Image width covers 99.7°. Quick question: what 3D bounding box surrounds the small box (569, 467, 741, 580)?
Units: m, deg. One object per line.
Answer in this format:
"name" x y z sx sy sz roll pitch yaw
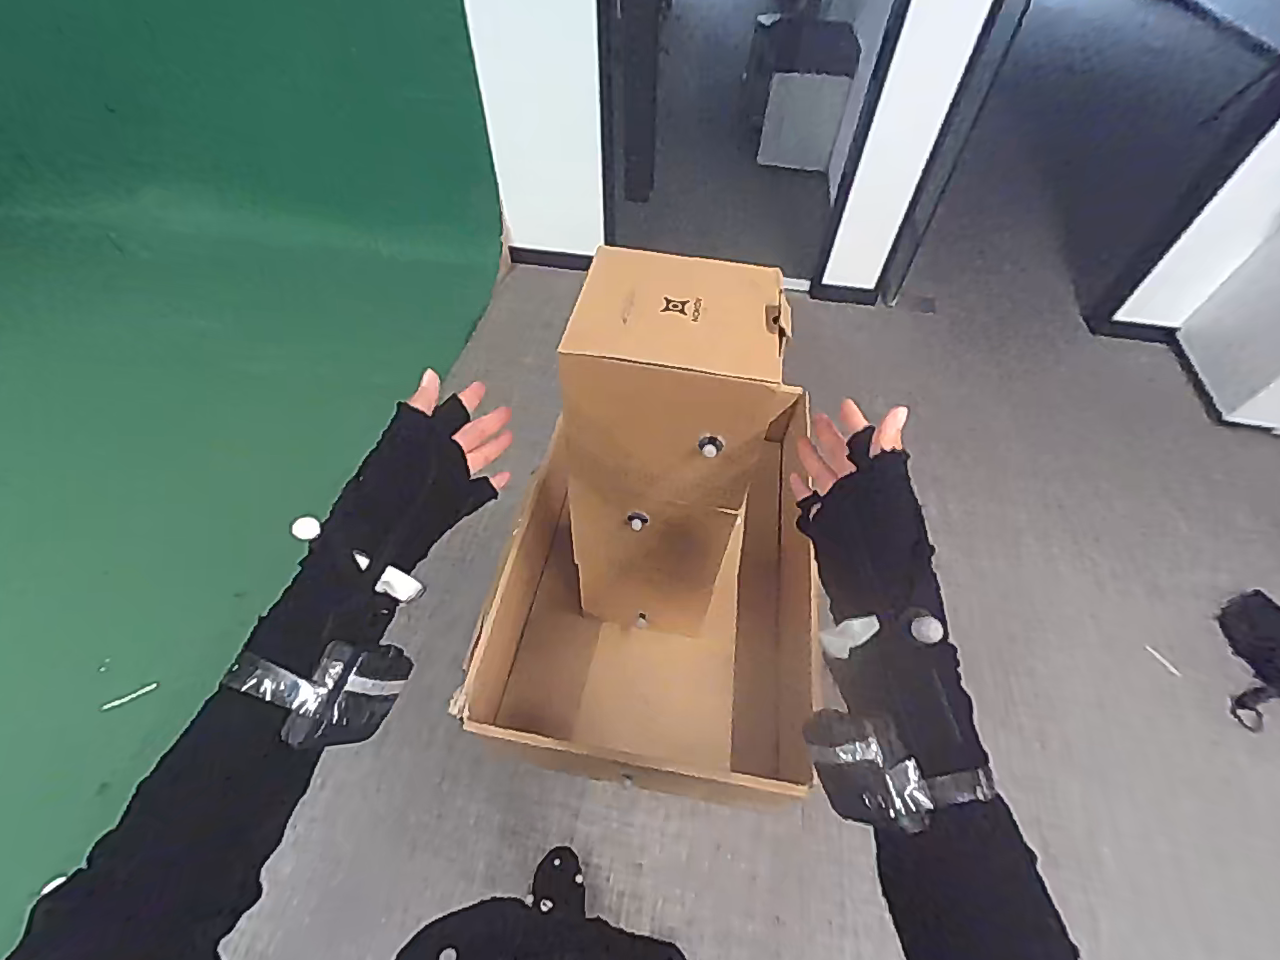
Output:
"small box" 0.025 0.001 0.648 0.179 0.176 0.168 11 52 5

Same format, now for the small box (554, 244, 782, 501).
"small box" 0.030 -0.098 0.520 0.179 0.176 0.168 8 50 5

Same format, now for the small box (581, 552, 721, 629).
"small box" 0.019 0.099 0.780 0.179 0.176 0.168 9 51 4
